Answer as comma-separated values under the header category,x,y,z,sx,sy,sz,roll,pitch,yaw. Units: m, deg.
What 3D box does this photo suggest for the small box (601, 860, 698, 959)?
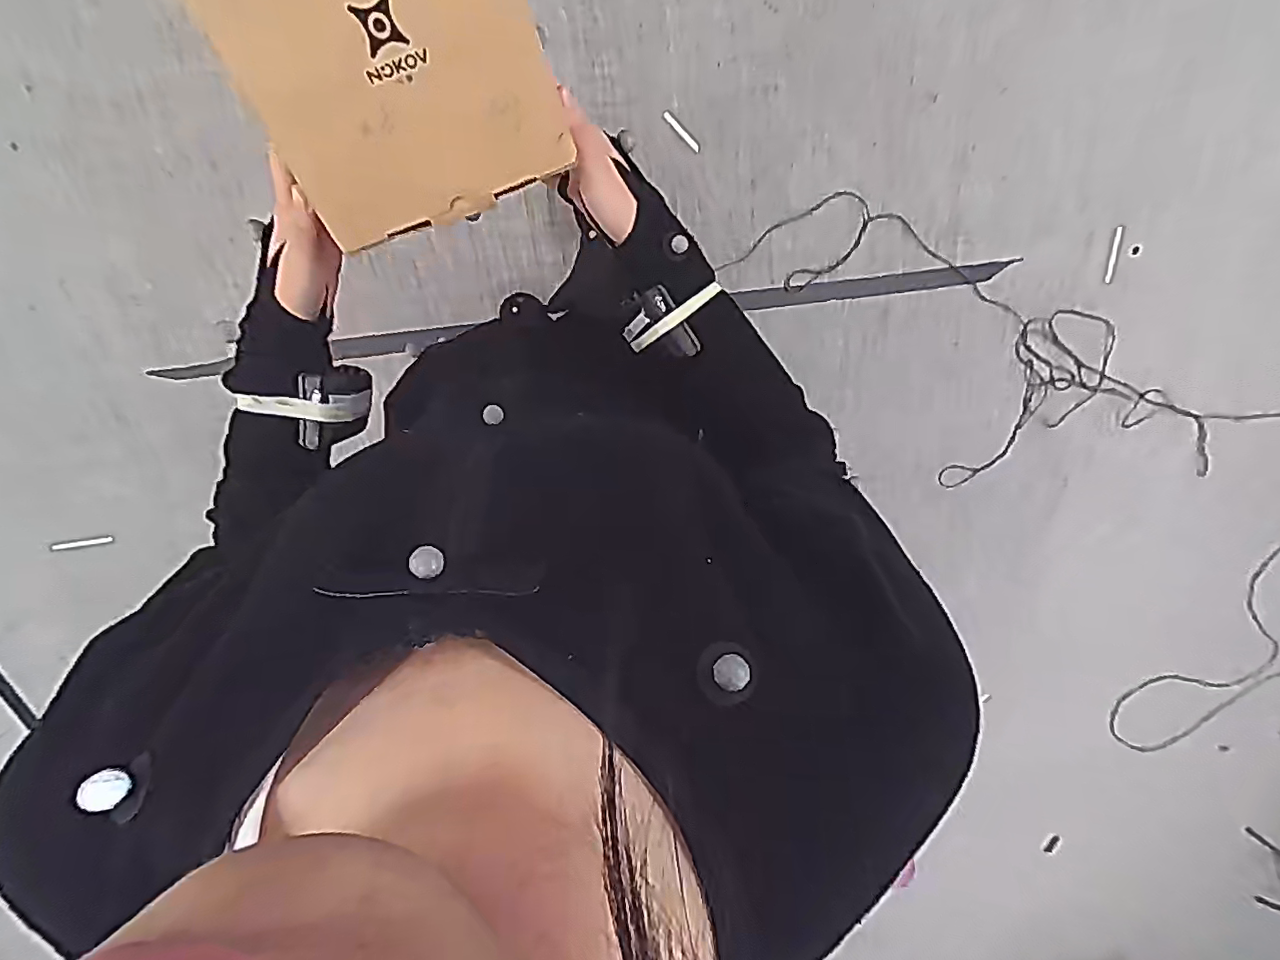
category,x,y,z,sx,sy,sz,roll,pitch,yaw
small box,0.019,0.878,1.055,0.168,0.176,0.179,-9,114,-4

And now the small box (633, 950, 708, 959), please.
category,x,y,z,sx,sy,sz,roll,pitch,yaw
small box,0.052,0.944,0.909,0.168,0.176,0.179,-6,112,-5

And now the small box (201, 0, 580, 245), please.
category,x,y,z,sx,sy,sz,roll,pitch,yaw
small box,-0.155,-0.286,0.359,0.168,0.176,0.179,-23,126,-3
